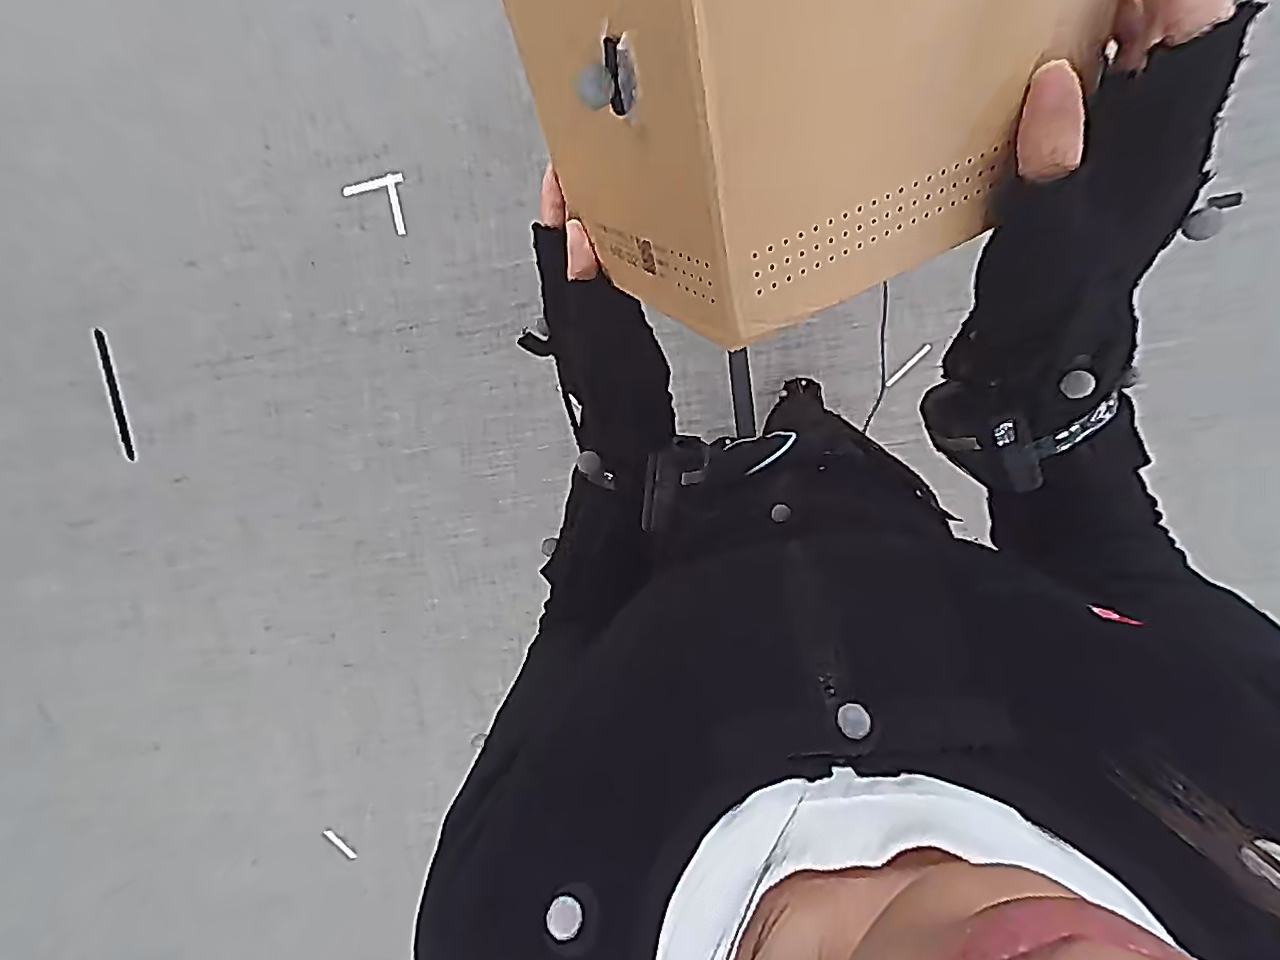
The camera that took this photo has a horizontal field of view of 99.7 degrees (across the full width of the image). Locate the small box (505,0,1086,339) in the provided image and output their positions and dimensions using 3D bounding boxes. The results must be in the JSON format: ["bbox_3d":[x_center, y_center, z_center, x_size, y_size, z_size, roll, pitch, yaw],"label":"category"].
[{"bbox_3d":[0.058,-0.183,0.232,0.179,0.168,0.176,-27,129,-10],"label":"small box"}]
